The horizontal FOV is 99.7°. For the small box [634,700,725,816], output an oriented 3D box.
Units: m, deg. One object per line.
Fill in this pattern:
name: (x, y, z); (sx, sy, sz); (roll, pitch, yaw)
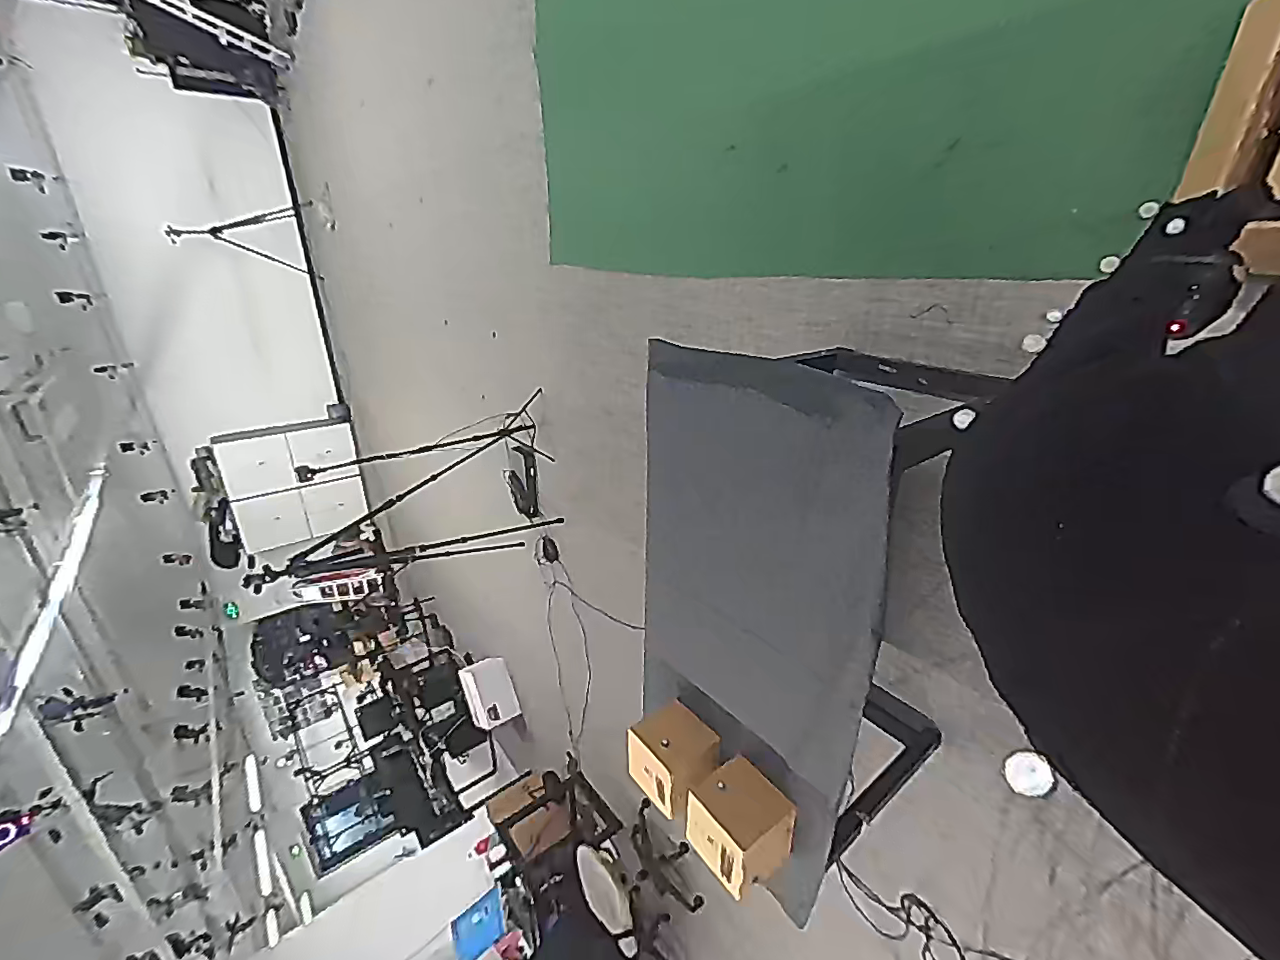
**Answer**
small box: (0.104, 0.712, 1.410); (0.179, 0.176, 0.168); (26, 124, 48)
